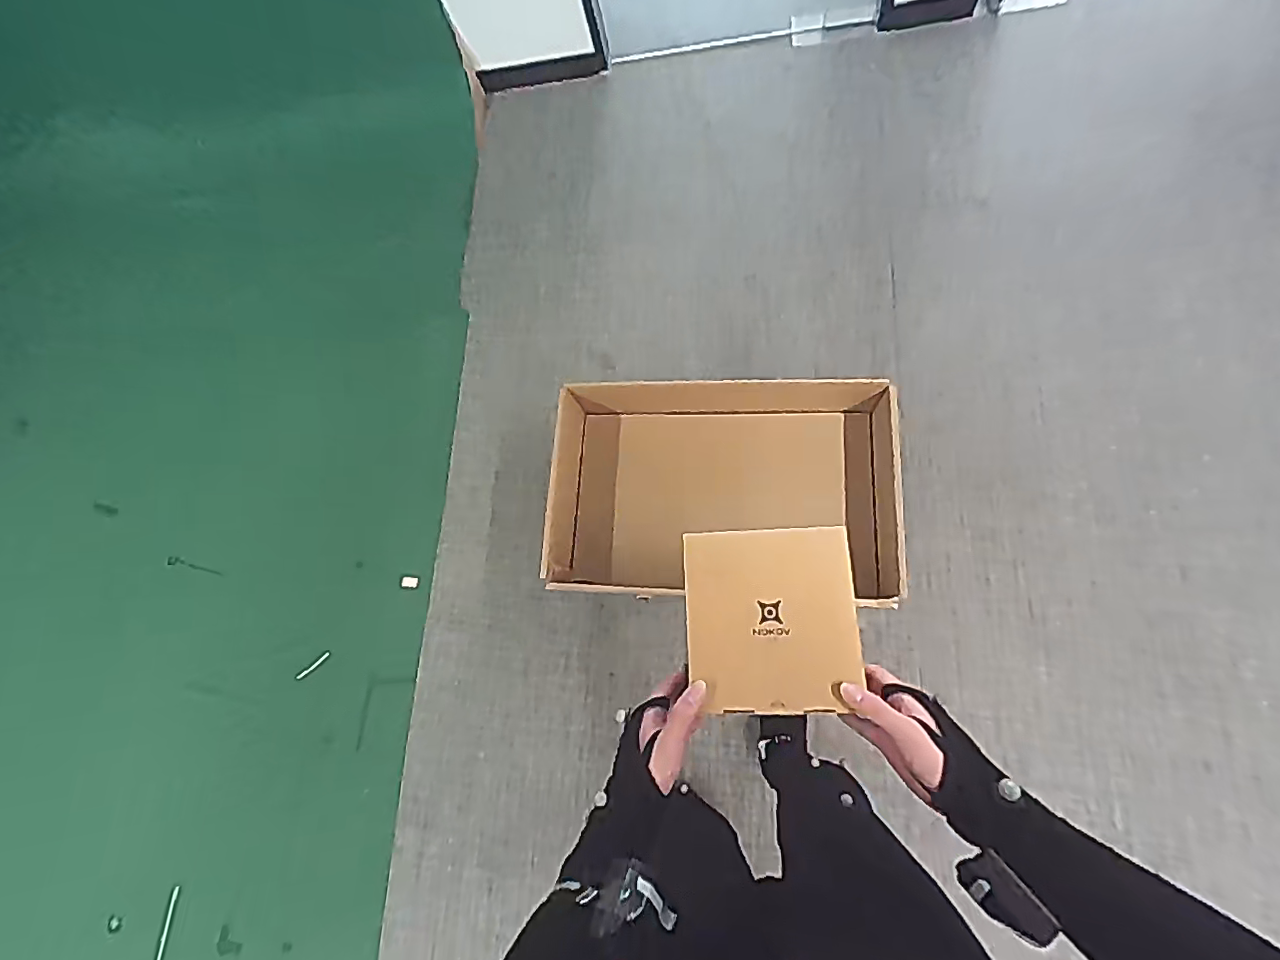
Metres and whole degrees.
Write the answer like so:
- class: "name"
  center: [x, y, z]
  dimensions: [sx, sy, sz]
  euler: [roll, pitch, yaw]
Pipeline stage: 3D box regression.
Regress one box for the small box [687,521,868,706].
- class: "small box"
  center: [0.139, 0.150, 0.604]
  dimensions: [0.168, 0.176, 0.179]
  euler: [-4, 75, 8]
